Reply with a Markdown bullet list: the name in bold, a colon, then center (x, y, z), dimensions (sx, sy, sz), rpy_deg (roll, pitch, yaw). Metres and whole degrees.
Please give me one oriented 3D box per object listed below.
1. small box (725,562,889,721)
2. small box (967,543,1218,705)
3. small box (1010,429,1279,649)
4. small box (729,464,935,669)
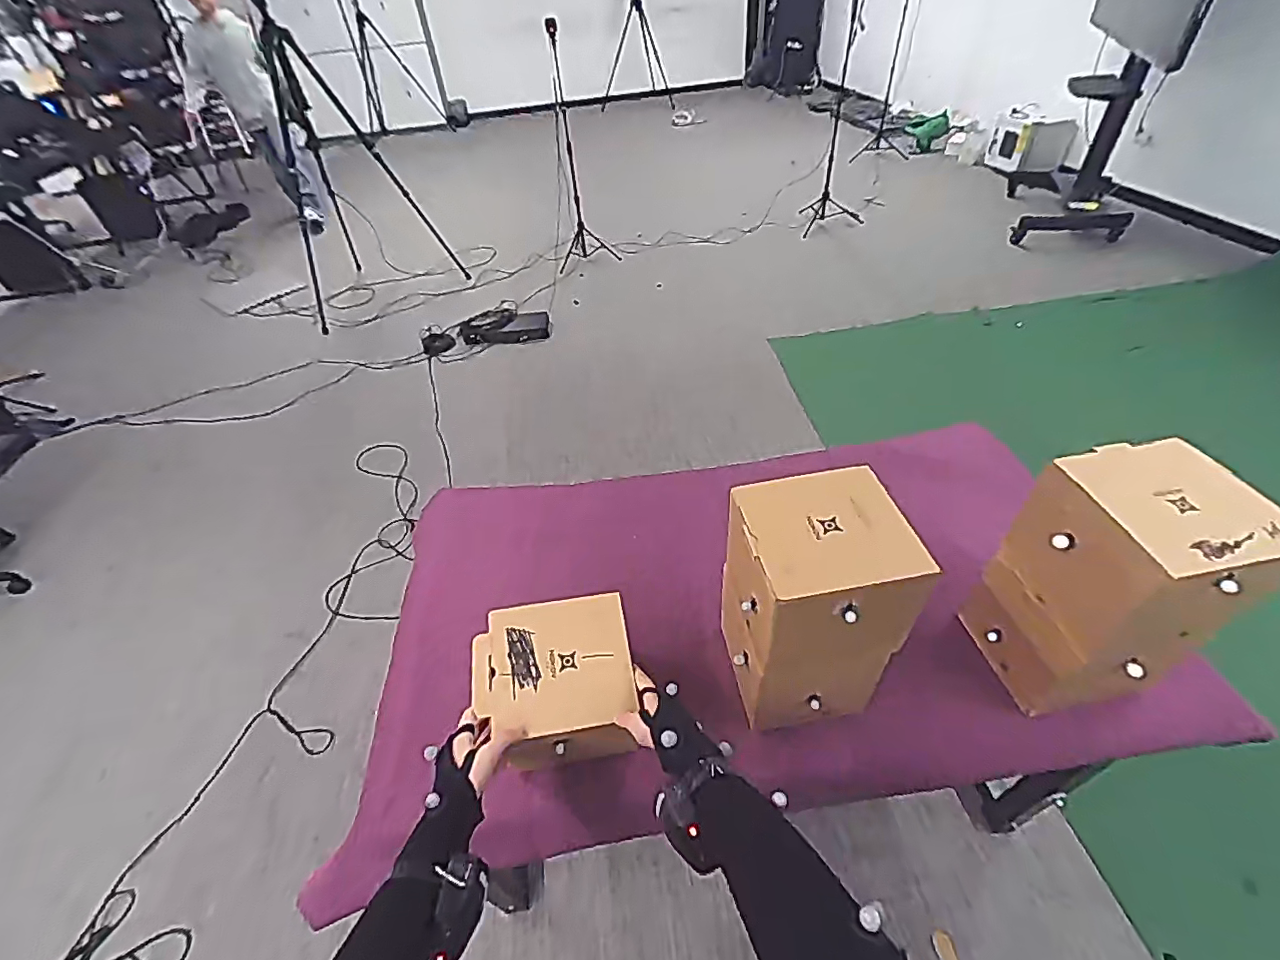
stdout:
- **small box**: center (0.223, 0.222, 0.769), dimensions (0.168, 0.176, 0.179), rpy_deg (-10, 43, -2)
- **small box**: center (0.601, 0.187, 0.750), dimensions (0.179, 0.176, 0.168), rpy_deg (-12, 45, -2)
- **small box**: center (0.586, 0.069, 0.637), dimensions (0.168, 0.176, 0.179), rpy_deg (-12, 44, -1)
- **small box**: center (0.212, 0.107, 0.653), dimensions (0.179, 0.176, 0.168), rpy_deg (-10, 44, -2)
